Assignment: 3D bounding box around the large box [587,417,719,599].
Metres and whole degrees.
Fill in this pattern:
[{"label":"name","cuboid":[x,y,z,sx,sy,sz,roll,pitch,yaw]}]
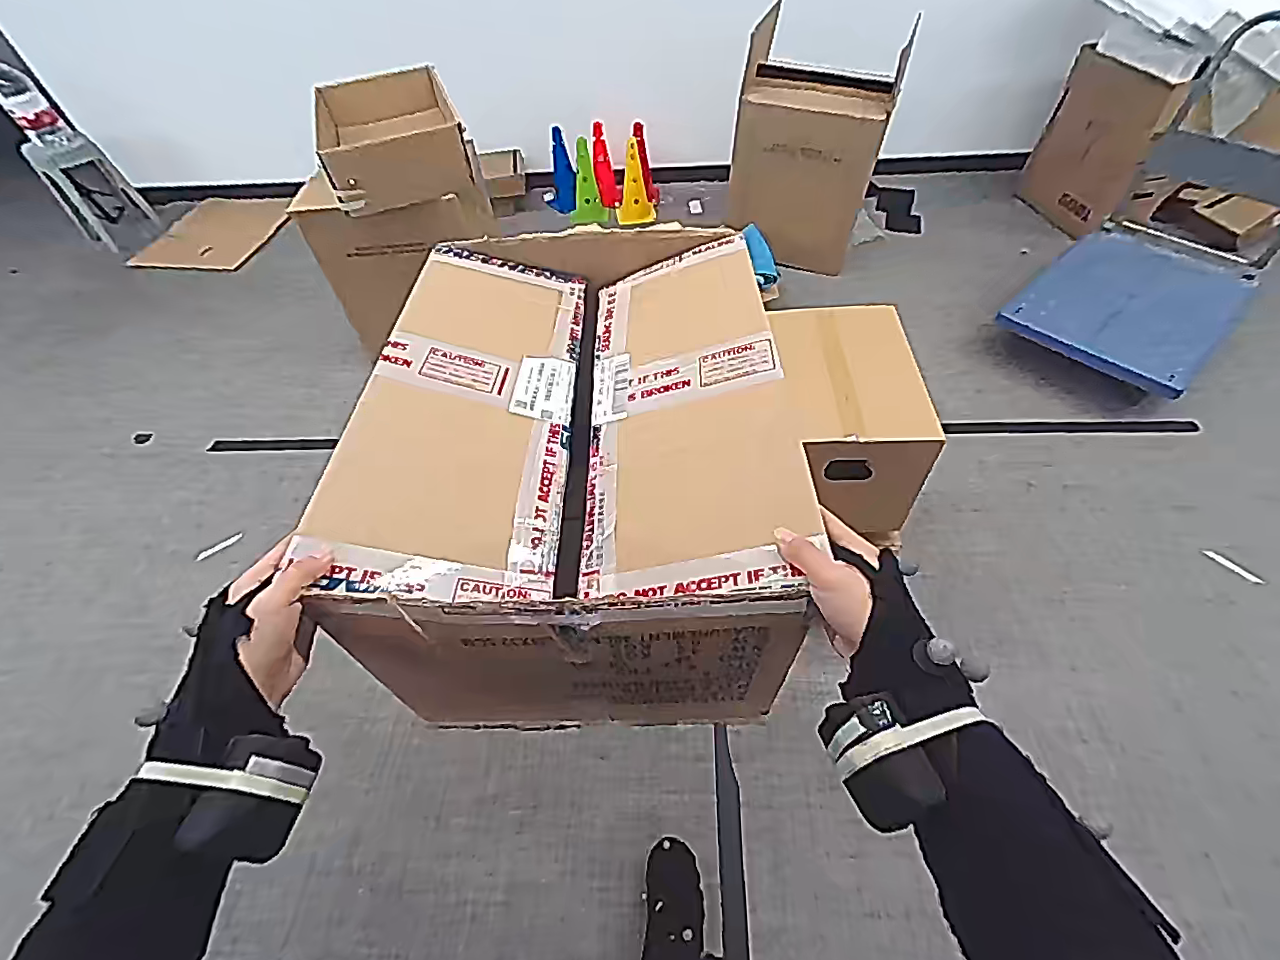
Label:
[{"label":"large box","cuboid":[0.033,0.077,1.479,0.320,0.320,0.408,-2,53,3]}]
